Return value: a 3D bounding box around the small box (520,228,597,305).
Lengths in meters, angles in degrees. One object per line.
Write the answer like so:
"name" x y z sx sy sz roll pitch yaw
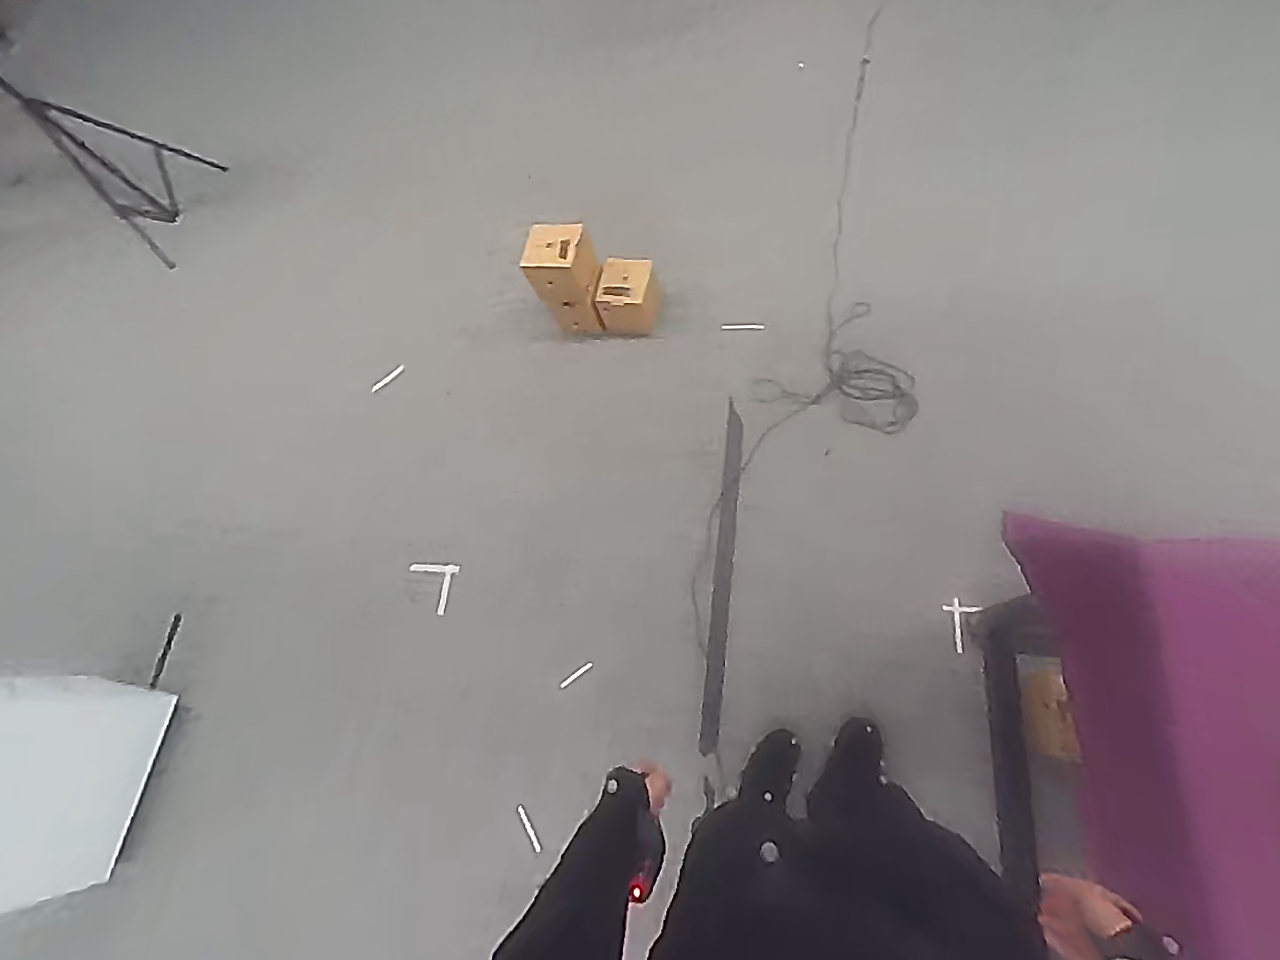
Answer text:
"small box" -0.252 -0.679 1.735 0.179 0.176 0.168 7 71 16
